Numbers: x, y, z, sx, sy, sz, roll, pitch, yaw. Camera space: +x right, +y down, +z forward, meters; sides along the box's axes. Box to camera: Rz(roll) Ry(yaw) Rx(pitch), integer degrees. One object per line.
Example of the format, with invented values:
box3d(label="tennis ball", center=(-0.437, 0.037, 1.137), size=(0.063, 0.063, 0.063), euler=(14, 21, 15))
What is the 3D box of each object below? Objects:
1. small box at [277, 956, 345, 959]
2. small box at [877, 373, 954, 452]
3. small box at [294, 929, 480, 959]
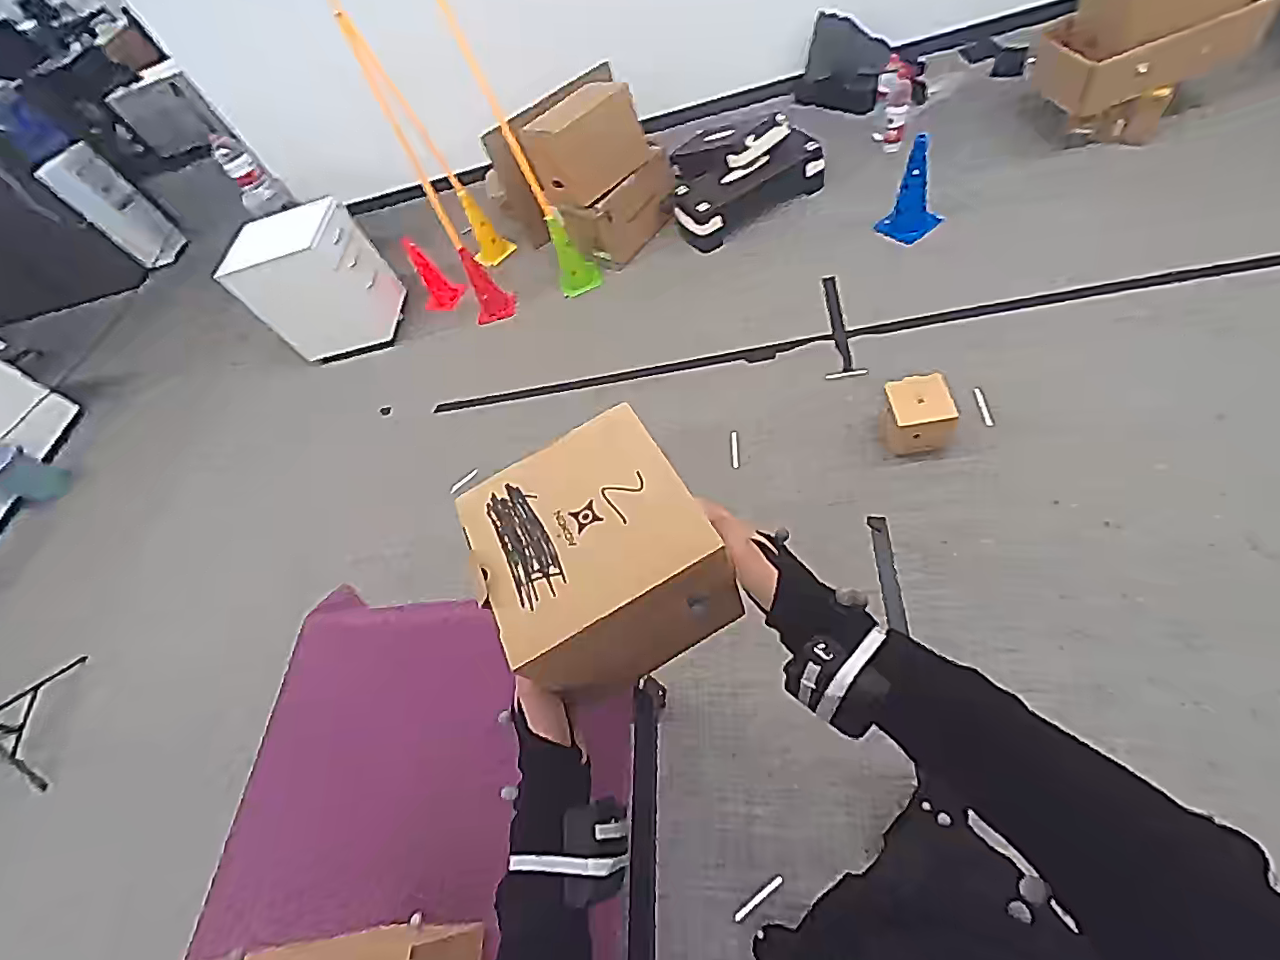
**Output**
box3d(label="small box", center=(-0.359, 0.580, 0.512), size=(0.179, 0.176, 0.168), euler=(-6, 58, 15))
box3d(label="small box", center=(0.858, -0.202, 1.698), size=(0.168, 0.176, 0.179), euler=(-10, 56, 12))
box3d(label="small box", center=(-0.310, 0.664, 0.646), size=(0.168, 0.176, 0.179), euler=(-11, 56, 12))
